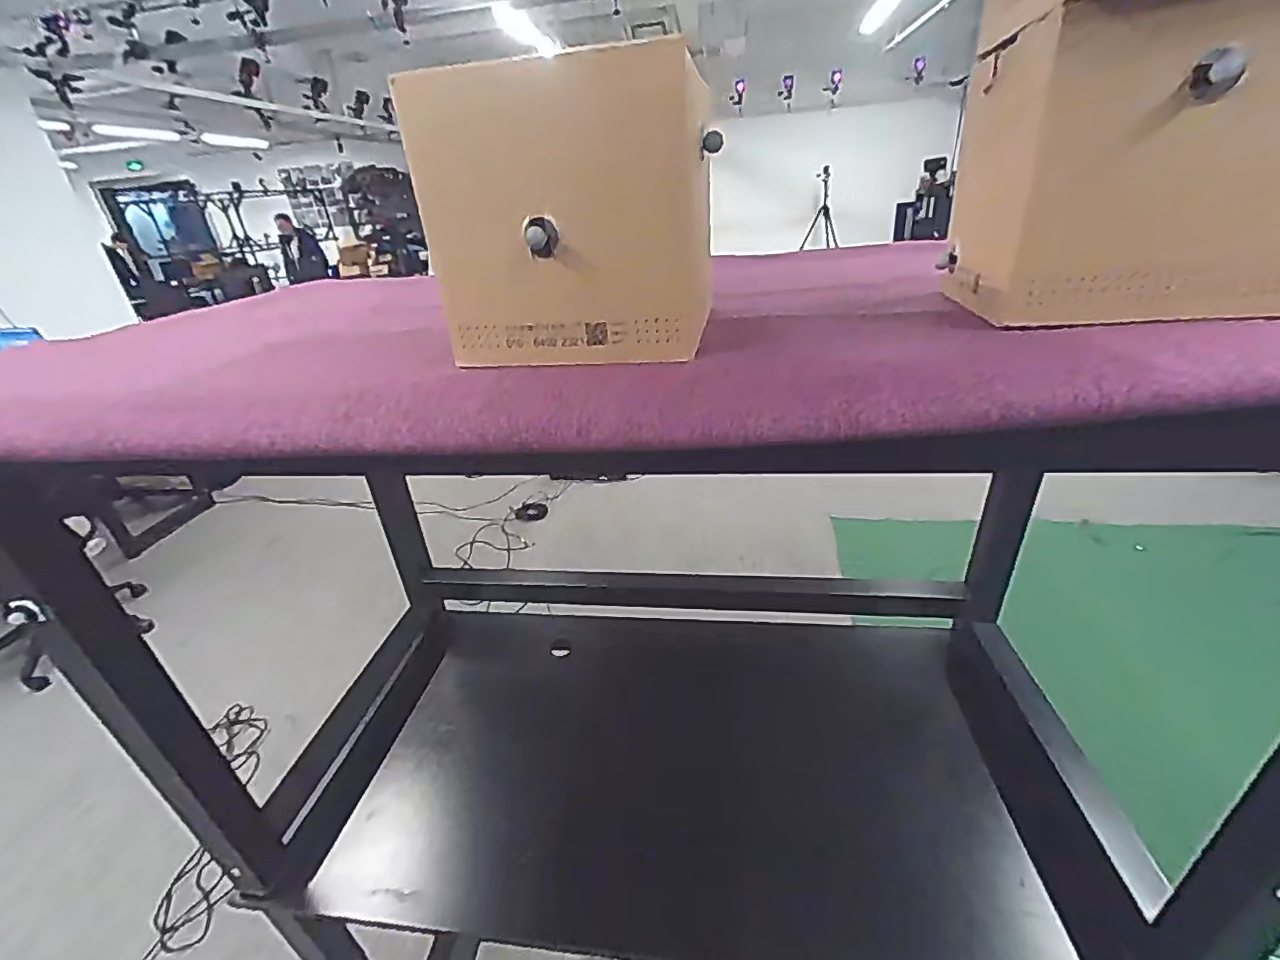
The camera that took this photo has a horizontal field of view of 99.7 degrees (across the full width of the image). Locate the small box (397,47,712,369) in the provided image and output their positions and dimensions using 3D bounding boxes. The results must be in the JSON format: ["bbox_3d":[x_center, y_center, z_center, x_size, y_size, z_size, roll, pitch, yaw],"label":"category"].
[{"bbox_3d":[-0.036,-0.183,0.393,0.168,0.176,0.179,2,29,11],"label":"small box"}]

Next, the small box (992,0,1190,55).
[{"bbox_3d":[0.308,-0.336,0.274,0.179,0.176,0.168,0,27,11],"label":"small box"}]

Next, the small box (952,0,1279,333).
[{"bbox_3d":[0.326,-0.198,0.359,0.179,0.176,0.168,2,27,15],"label":"small box"}]
